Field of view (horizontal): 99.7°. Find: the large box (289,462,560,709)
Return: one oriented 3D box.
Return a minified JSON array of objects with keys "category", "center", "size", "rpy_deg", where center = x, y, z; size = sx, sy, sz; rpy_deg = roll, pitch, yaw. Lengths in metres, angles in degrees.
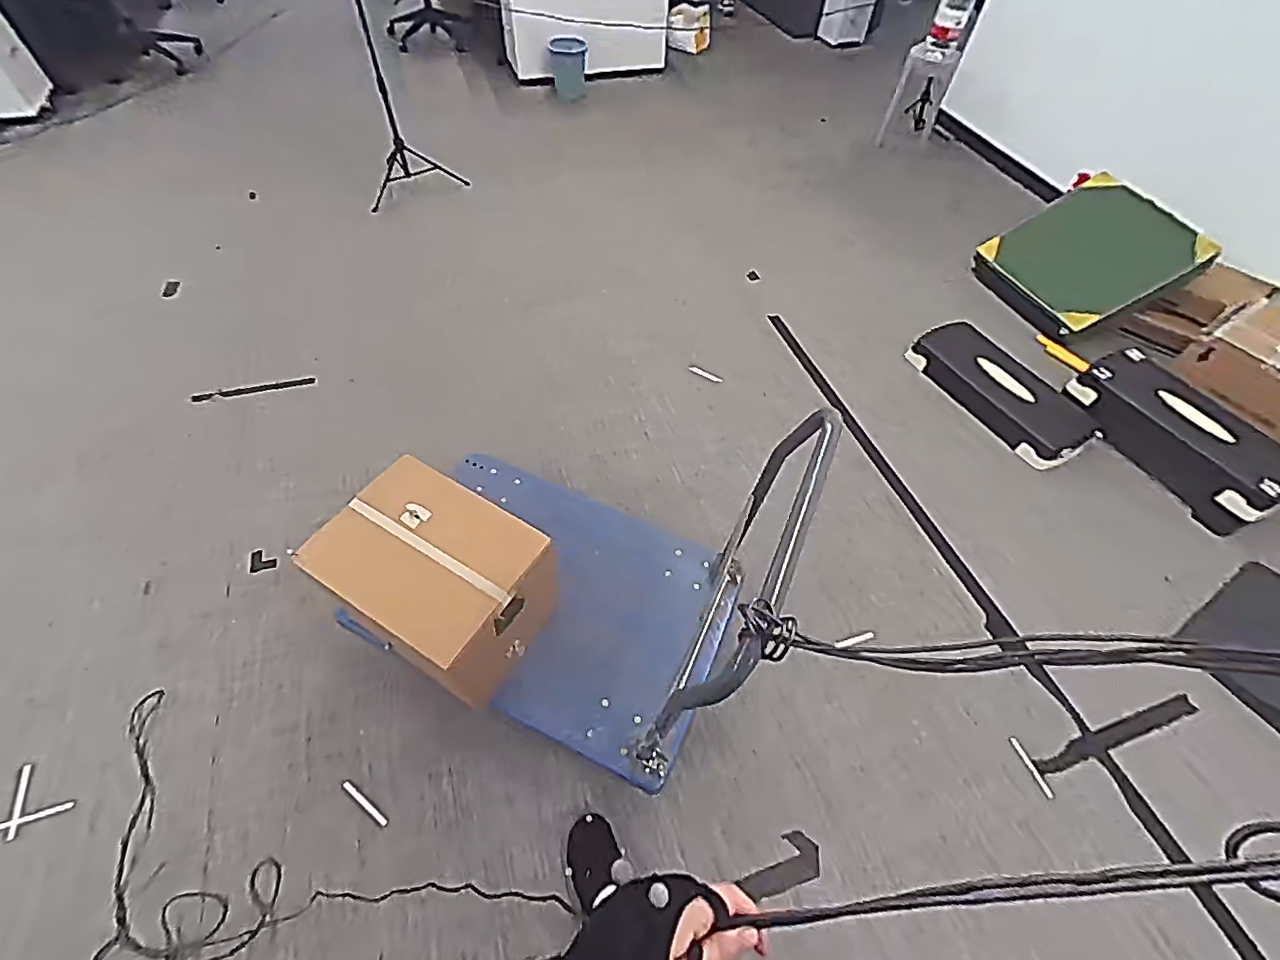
[{"category":"large box","center":[-0.433,0.232,1.184],"size":[0.408,0.320,0.320],"rpy_deg":[27,56,16]}]
